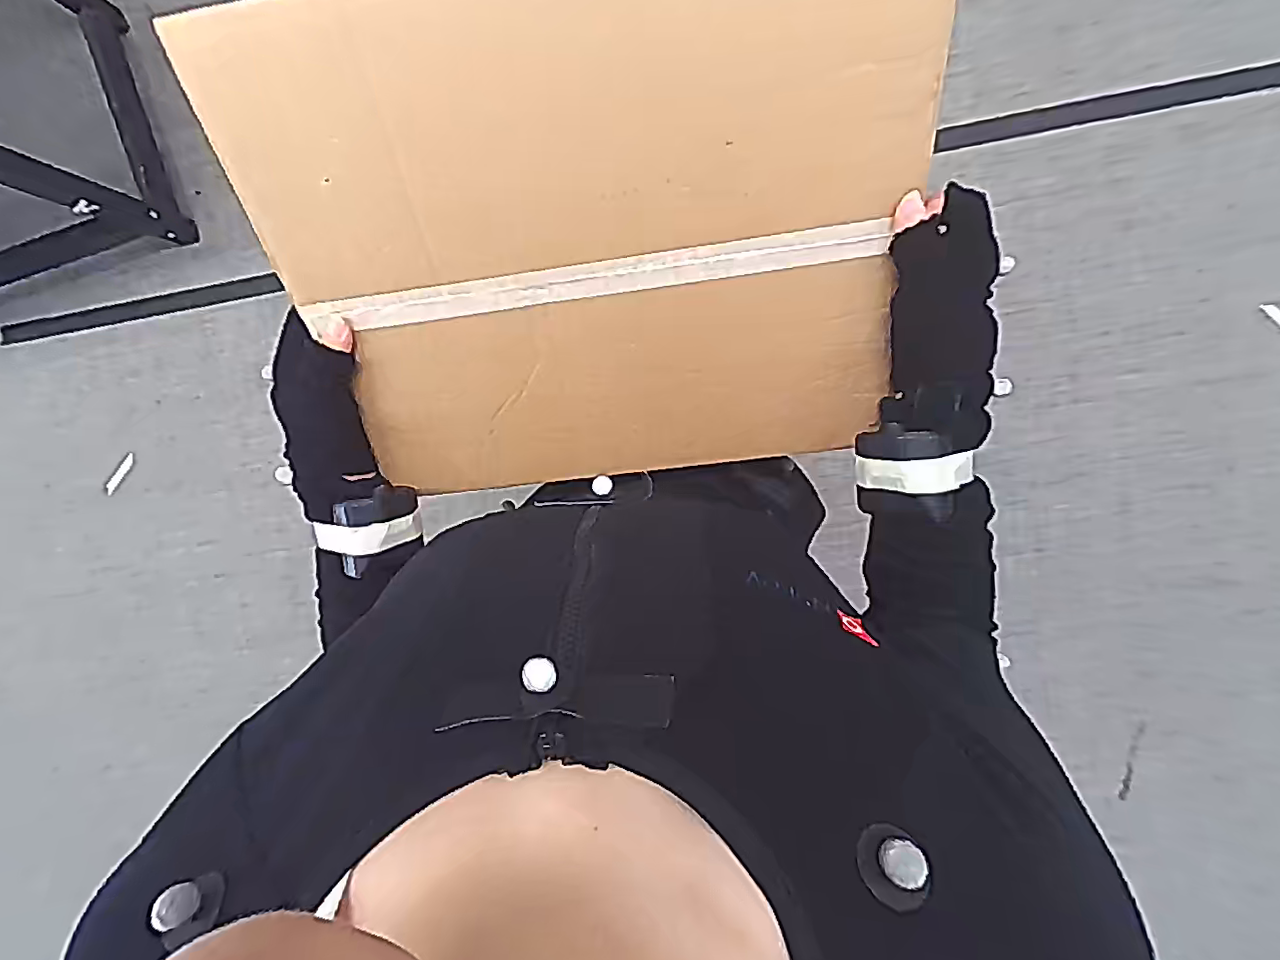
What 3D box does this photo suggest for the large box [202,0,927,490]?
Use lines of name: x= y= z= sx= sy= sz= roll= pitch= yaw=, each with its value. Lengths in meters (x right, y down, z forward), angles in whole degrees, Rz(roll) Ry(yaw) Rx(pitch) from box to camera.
large box: x=-0.026 y=-0.224 z=0.486 sx=0.408 sy=0.320 sz=0.320 roll=-7 pitch=125 yaw=5
